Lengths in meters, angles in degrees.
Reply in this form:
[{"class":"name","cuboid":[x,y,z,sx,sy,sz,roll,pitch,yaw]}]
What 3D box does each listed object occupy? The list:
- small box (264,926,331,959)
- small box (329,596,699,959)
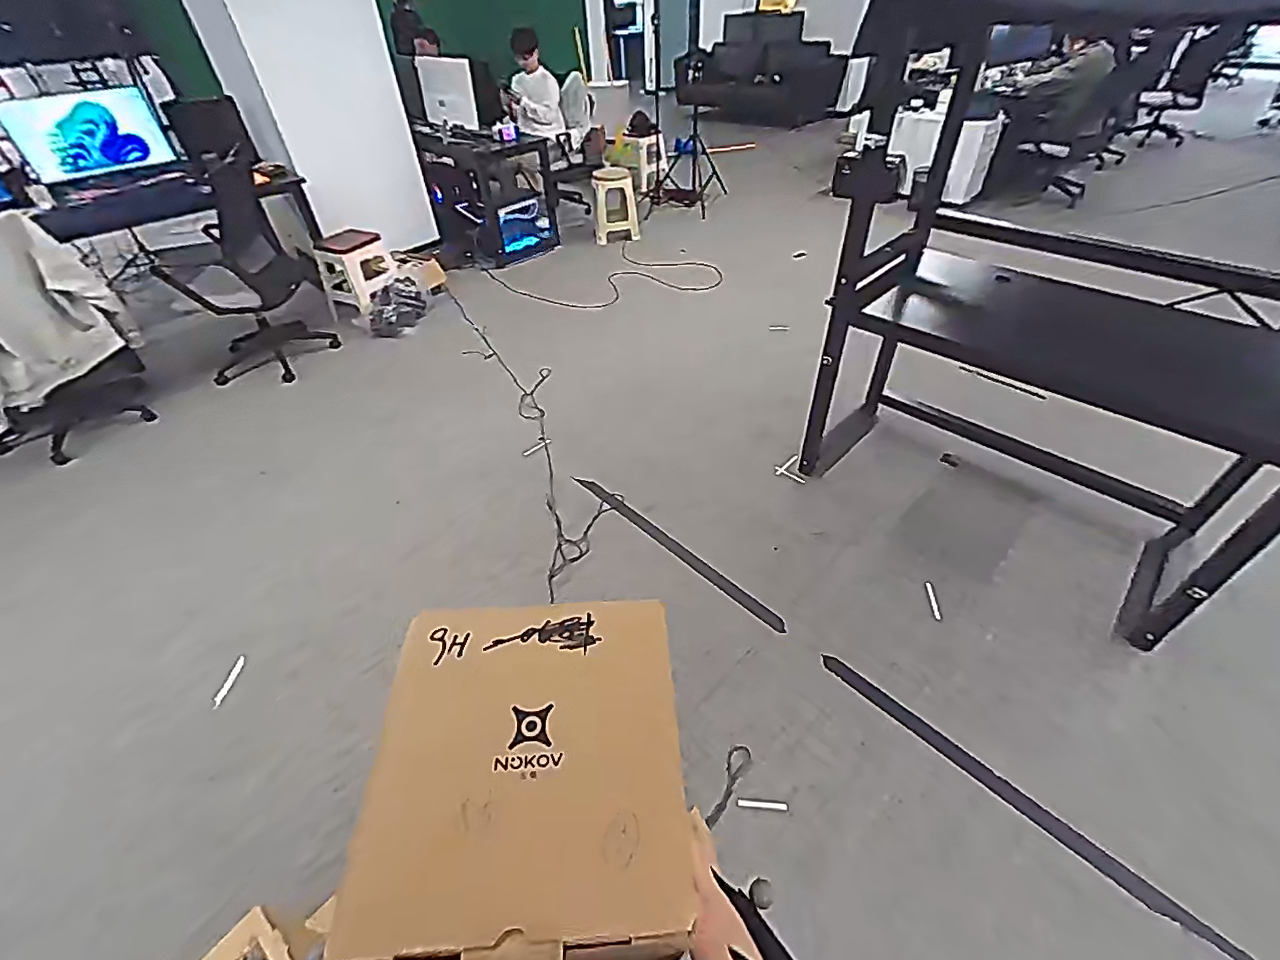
[{"class":"small box","cuboid":[-0.654,1.005,1.022,0.168,0.176,0.179,28,51,29]},{"class":"small box","cuboid":[-0.057,0.196,0.348,0.168,0.176,0.179,-2,46,-3]}]
